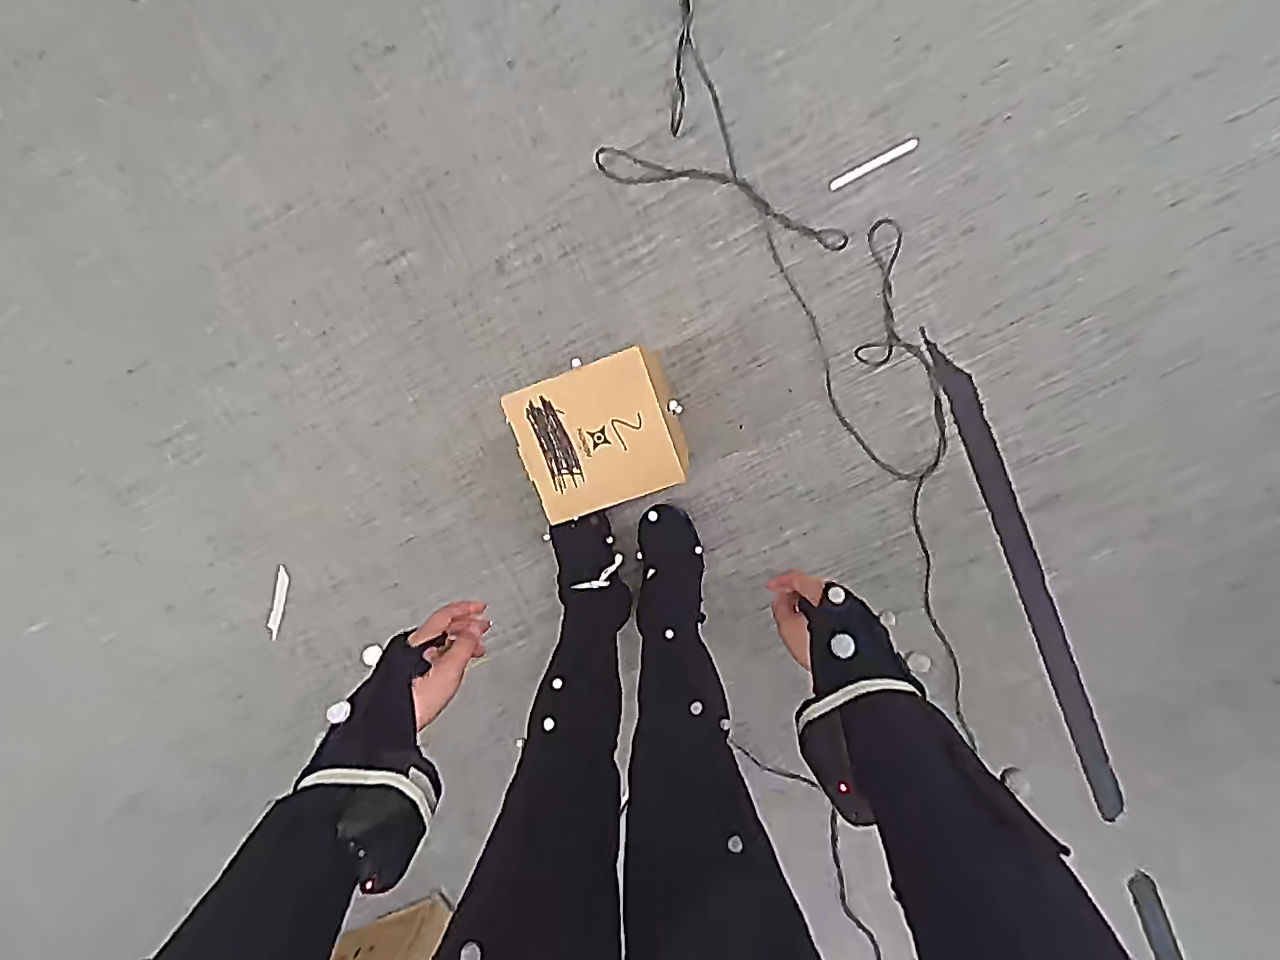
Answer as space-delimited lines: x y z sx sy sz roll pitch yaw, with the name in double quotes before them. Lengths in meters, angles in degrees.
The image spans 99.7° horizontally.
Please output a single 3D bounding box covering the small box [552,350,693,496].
"small box" -0.021 -0.096 0.863 0.168 0.176 0.179 -18 102 8
